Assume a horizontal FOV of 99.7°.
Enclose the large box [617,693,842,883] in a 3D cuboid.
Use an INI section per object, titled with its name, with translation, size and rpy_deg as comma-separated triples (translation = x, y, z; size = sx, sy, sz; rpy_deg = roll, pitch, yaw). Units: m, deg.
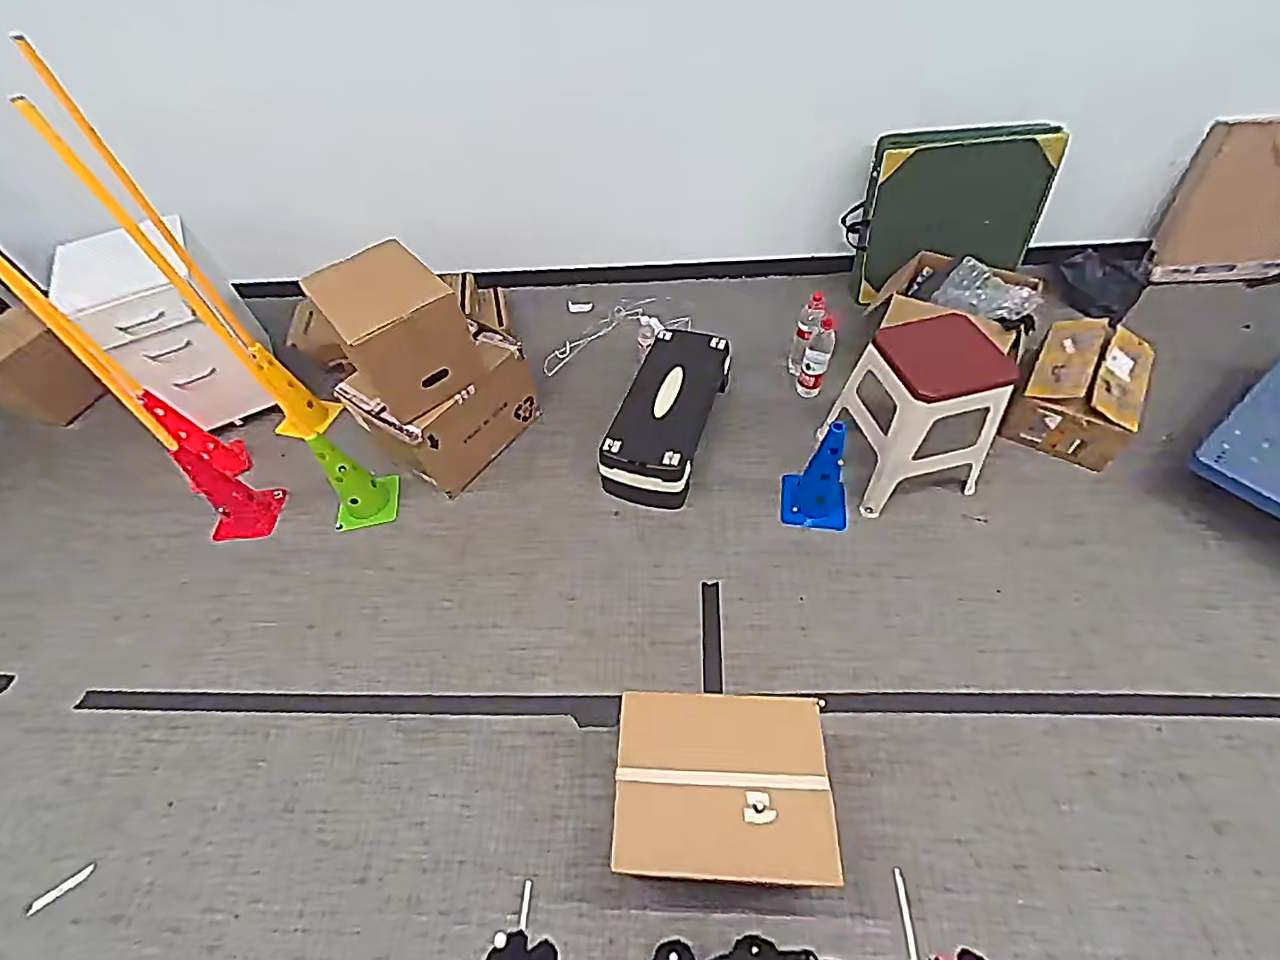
[large box]
translation = 0.166, 0.662, 1.155
size = 0.408, 0.320, 0.320
rpy_deg = 0, 54, 4
